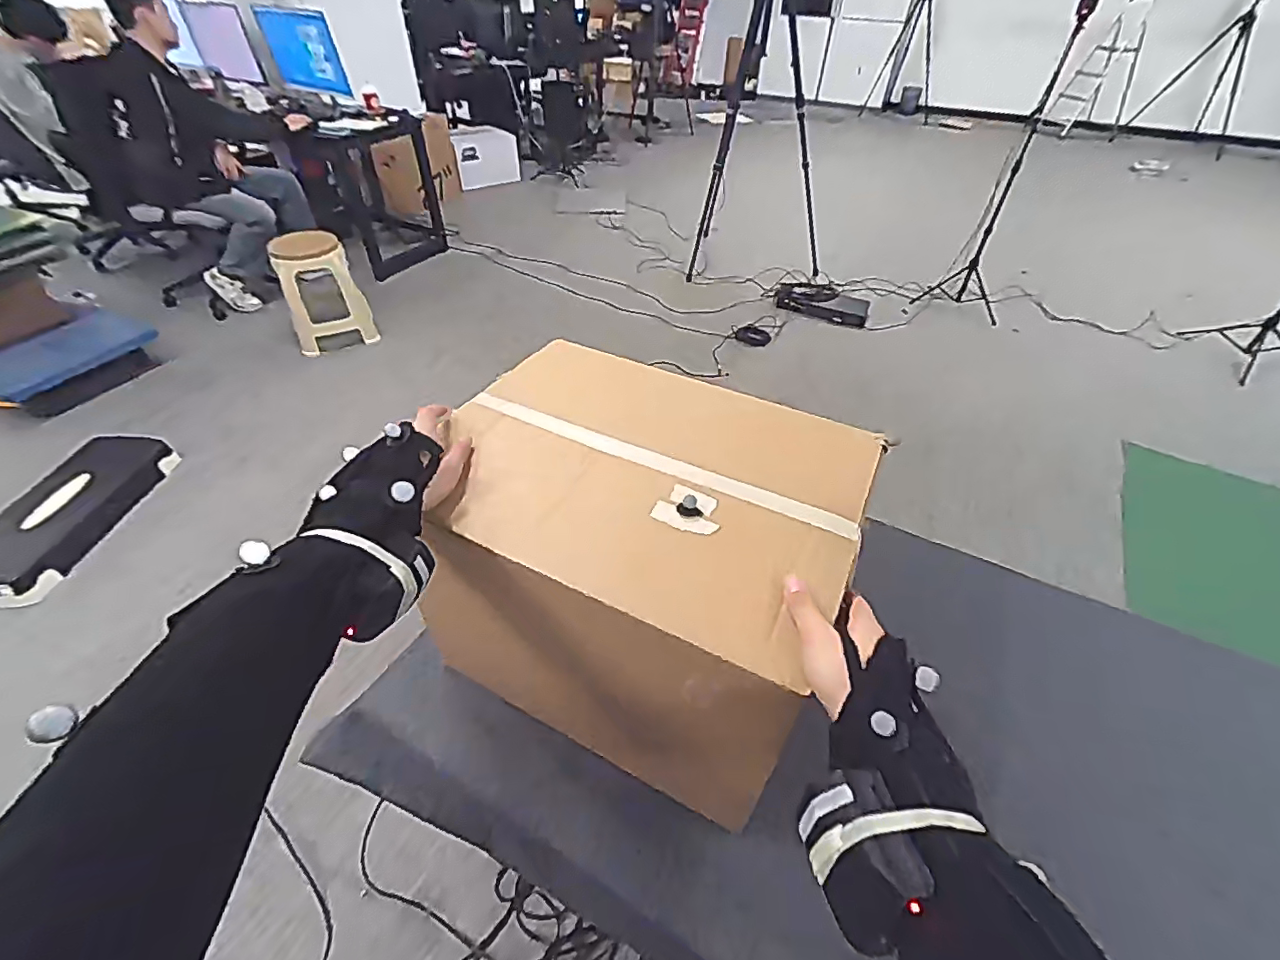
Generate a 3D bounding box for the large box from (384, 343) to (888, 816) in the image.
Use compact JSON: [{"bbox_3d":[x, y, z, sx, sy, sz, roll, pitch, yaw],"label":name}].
[{"bbox_3d":[0.006,0.092,0.620,0.408,0.320,0.320,21,47,18],"label":"large box"}]
